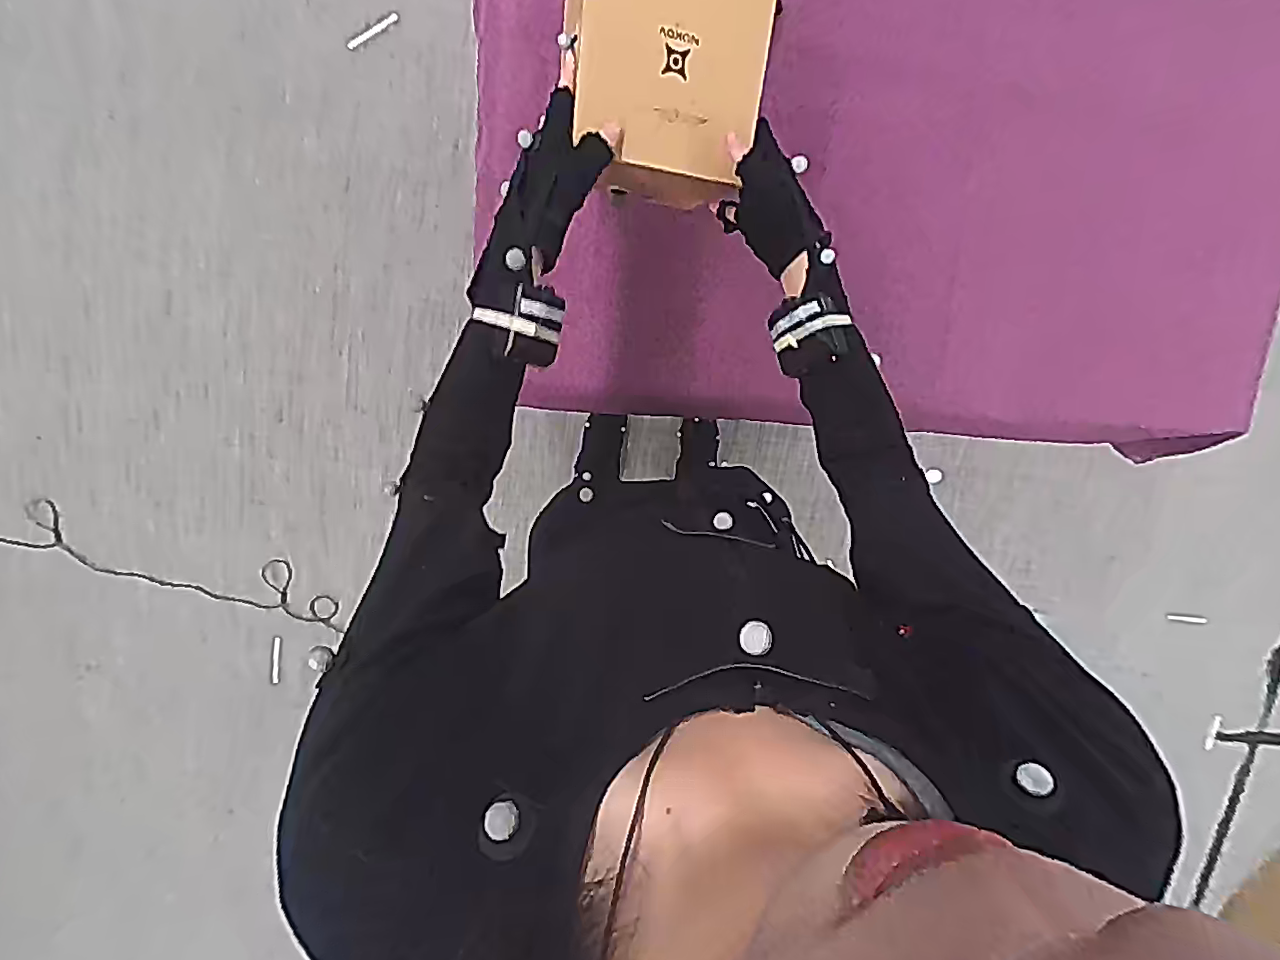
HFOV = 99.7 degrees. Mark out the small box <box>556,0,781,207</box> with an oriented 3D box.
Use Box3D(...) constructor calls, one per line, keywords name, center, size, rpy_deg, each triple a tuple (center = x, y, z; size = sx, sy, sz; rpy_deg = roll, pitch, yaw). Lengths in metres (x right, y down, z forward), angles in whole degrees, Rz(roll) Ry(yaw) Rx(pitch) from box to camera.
Box3D(name="small box", center=(0.013, -0.381, 0.520), size=(0.168, 0.176, 0.179), rpy_deg=(2, 110, -15))
